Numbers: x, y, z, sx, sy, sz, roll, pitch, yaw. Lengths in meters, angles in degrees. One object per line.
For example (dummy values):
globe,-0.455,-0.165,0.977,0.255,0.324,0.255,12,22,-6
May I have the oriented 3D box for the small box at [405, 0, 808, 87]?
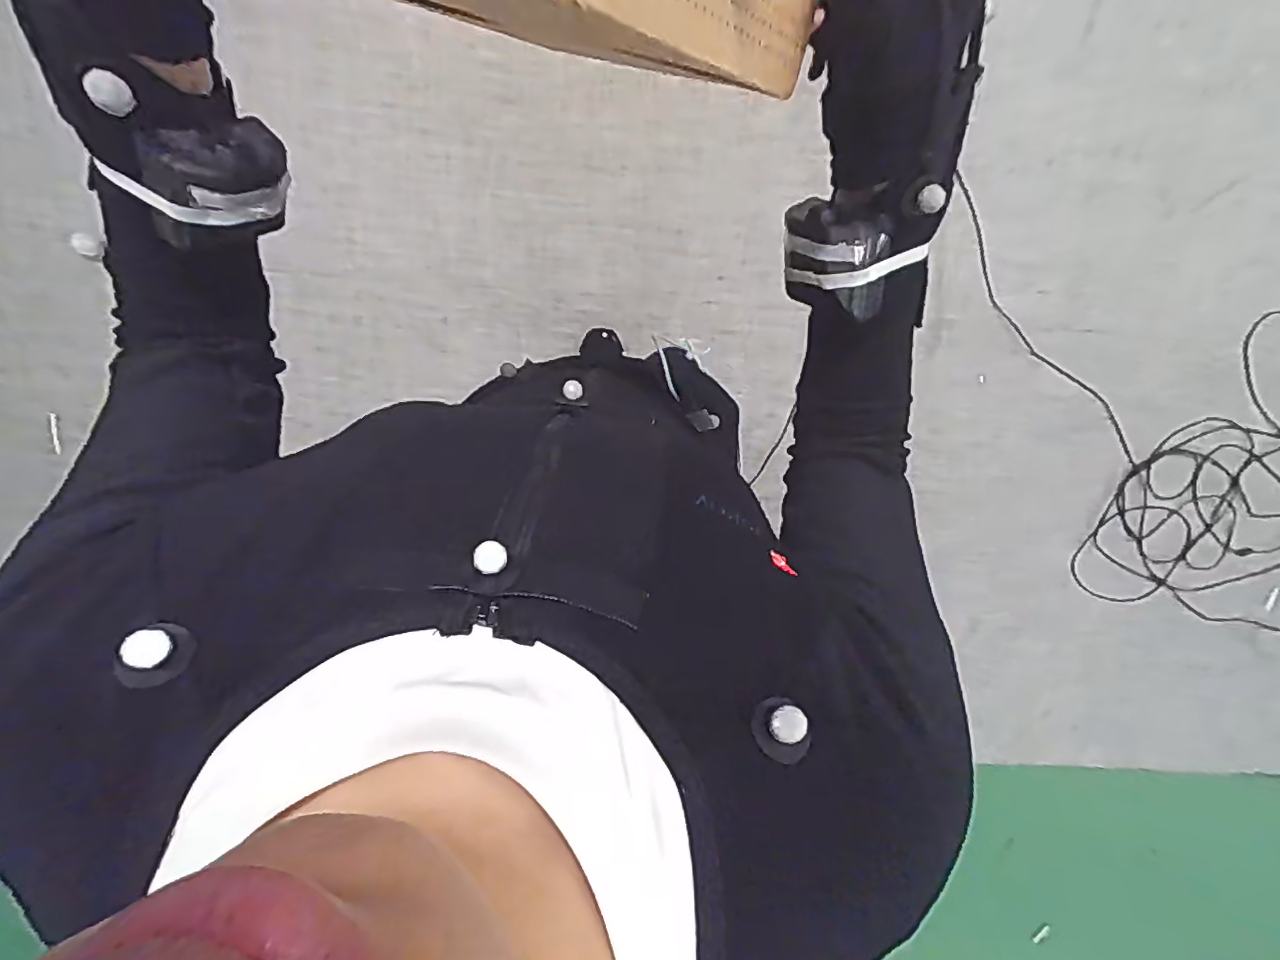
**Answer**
small box,-0.018,-0.269,0.204,0.168,0.179,0.176,28,125,23
